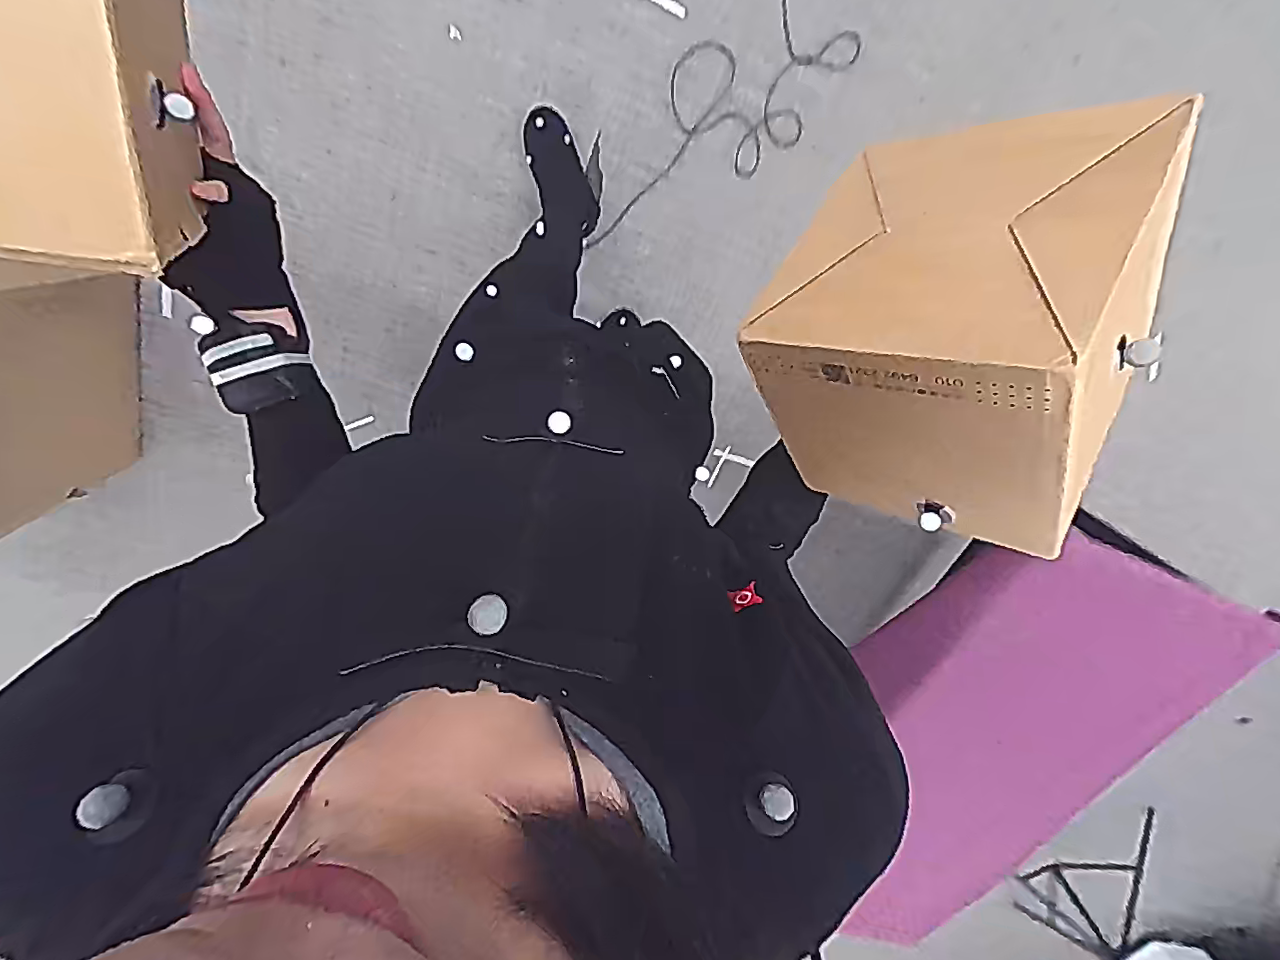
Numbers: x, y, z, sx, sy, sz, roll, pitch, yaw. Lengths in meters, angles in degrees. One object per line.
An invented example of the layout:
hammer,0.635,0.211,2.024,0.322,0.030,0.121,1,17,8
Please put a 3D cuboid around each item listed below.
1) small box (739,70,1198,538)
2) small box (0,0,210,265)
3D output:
small box,0.190,-0.097,0.327,0.179,0.168,0.176,-57,135,-14
small box,-0.337,-0.224,0.256,0.179,0.168,0.176,0,124,-29
